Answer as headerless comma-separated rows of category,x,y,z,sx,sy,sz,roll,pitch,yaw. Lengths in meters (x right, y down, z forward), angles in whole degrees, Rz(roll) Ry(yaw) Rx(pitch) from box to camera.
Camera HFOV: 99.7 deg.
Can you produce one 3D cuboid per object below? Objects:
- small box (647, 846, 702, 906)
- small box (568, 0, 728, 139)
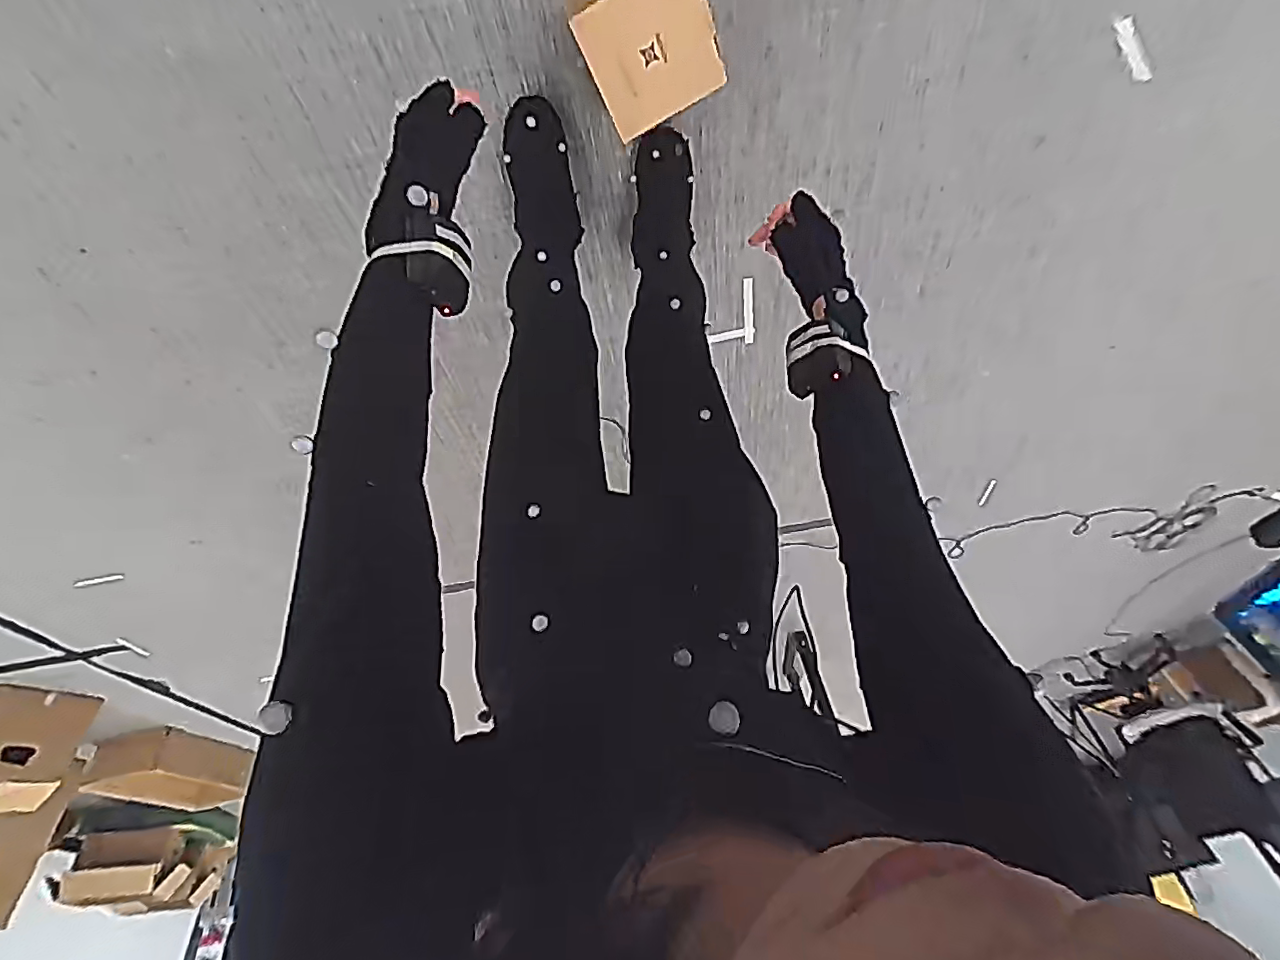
small box,0.133,1.600,2.186,0.179,0.176,0.168,0,138,-10
small box,0.006,-0.653,0.796,0.179,0.176,0.168,-23,136,15
